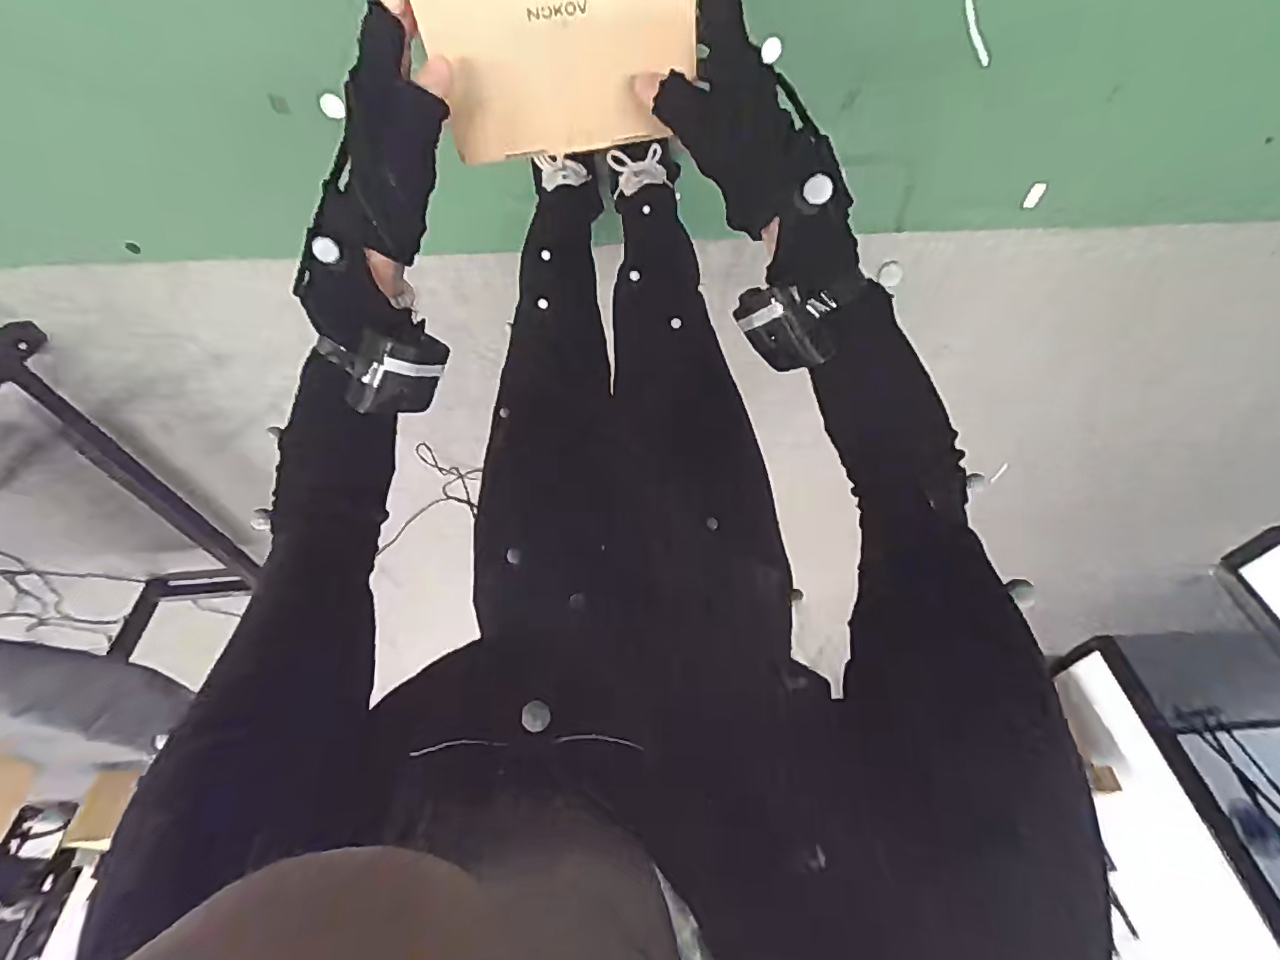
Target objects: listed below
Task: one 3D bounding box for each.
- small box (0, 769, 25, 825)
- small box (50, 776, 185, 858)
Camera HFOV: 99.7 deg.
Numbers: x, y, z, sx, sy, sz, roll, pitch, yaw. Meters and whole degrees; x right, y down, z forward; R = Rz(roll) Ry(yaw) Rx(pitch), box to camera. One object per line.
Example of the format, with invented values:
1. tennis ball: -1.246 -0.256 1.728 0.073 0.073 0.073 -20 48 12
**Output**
1. small box: -1.659 0.778 1.281 0.168 0.176 0.179 -3 141 -3
2. small box: -1.418 0.920 1.483 0.168 0.176 0.179 -4 141 -1
